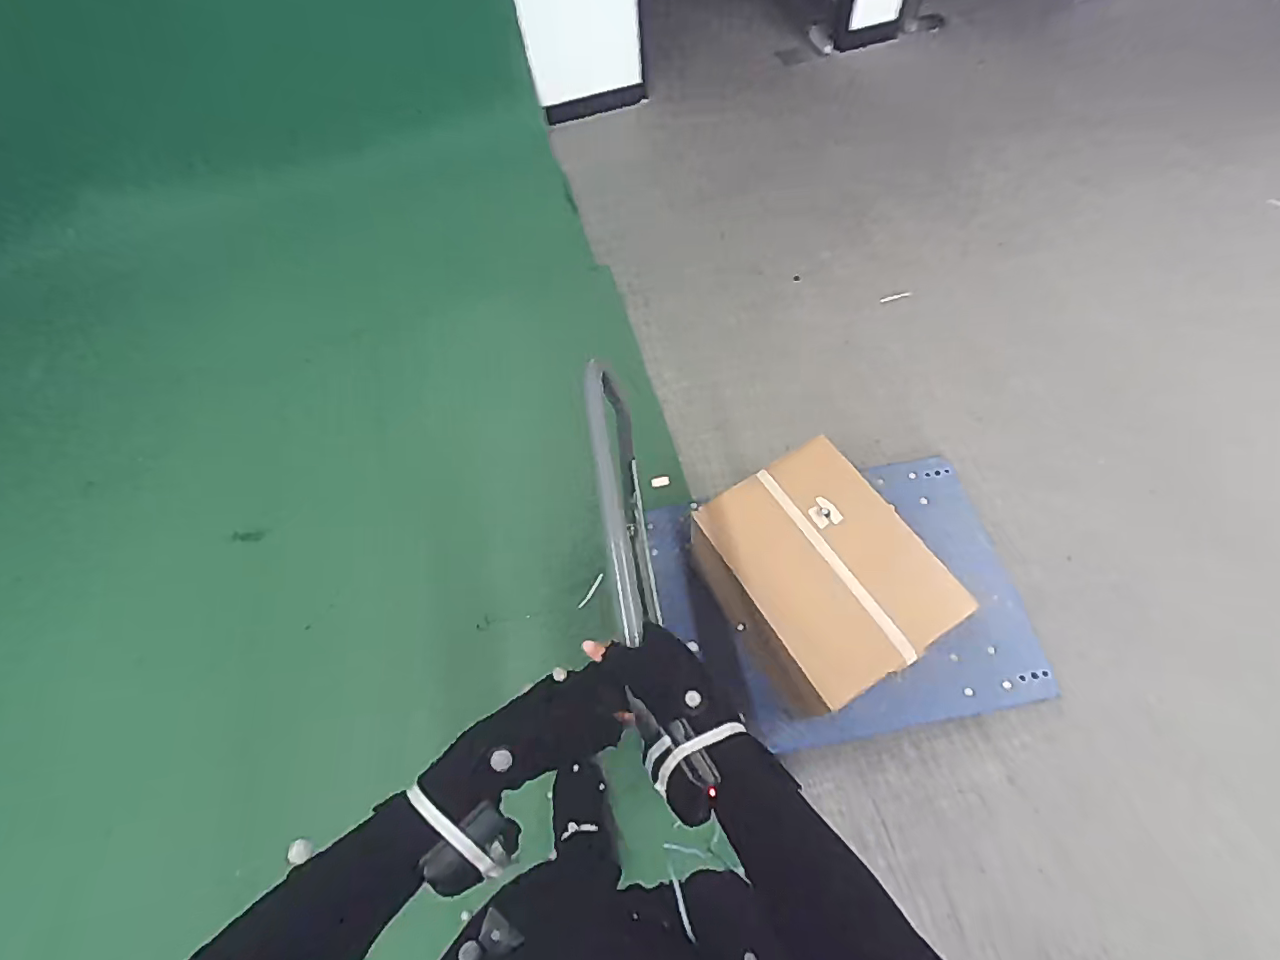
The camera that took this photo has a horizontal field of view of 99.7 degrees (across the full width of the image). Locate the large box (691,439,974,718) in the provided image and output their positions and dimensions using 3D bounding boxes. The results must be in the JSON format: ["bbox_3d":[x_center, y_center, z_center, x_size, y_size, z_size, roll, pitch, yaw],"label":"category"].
[{"bbox_3d":[0.341,0.206,1.084,0.320,0.320,0.408,-29,64,-10],"label":"large box"}]
